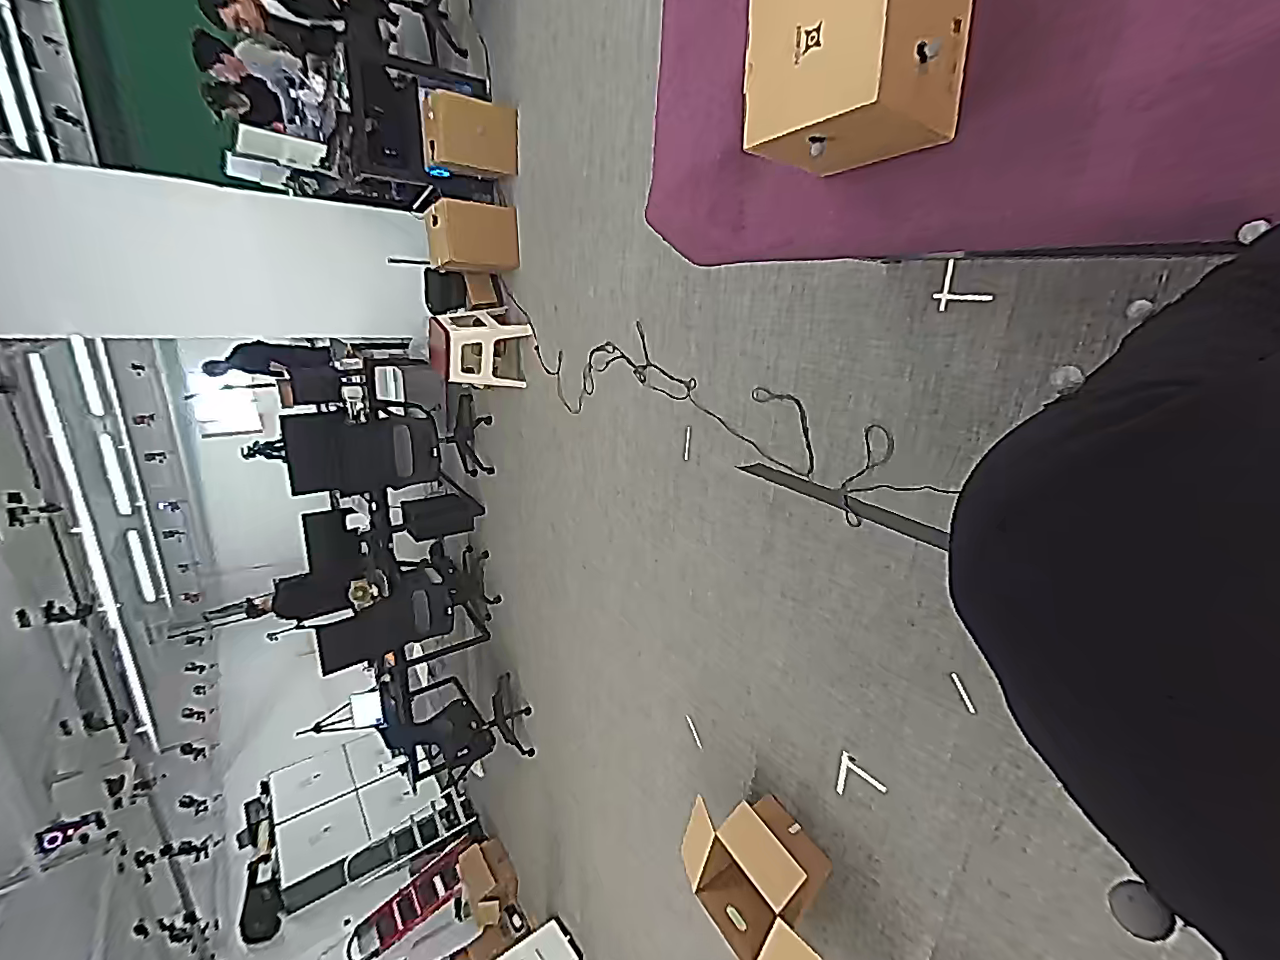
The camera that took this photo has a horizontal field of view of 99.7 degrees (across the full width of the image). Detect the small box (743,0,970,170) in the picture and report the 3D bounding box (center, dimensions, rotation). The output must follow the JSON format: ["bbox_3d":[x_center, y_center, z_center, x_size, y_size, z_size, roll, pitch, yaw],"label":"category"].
[{"bbox_3d":[0.238,-0.466,0.602,0.179,0.176,0.168,19,114,51],"label":"small box"}]
